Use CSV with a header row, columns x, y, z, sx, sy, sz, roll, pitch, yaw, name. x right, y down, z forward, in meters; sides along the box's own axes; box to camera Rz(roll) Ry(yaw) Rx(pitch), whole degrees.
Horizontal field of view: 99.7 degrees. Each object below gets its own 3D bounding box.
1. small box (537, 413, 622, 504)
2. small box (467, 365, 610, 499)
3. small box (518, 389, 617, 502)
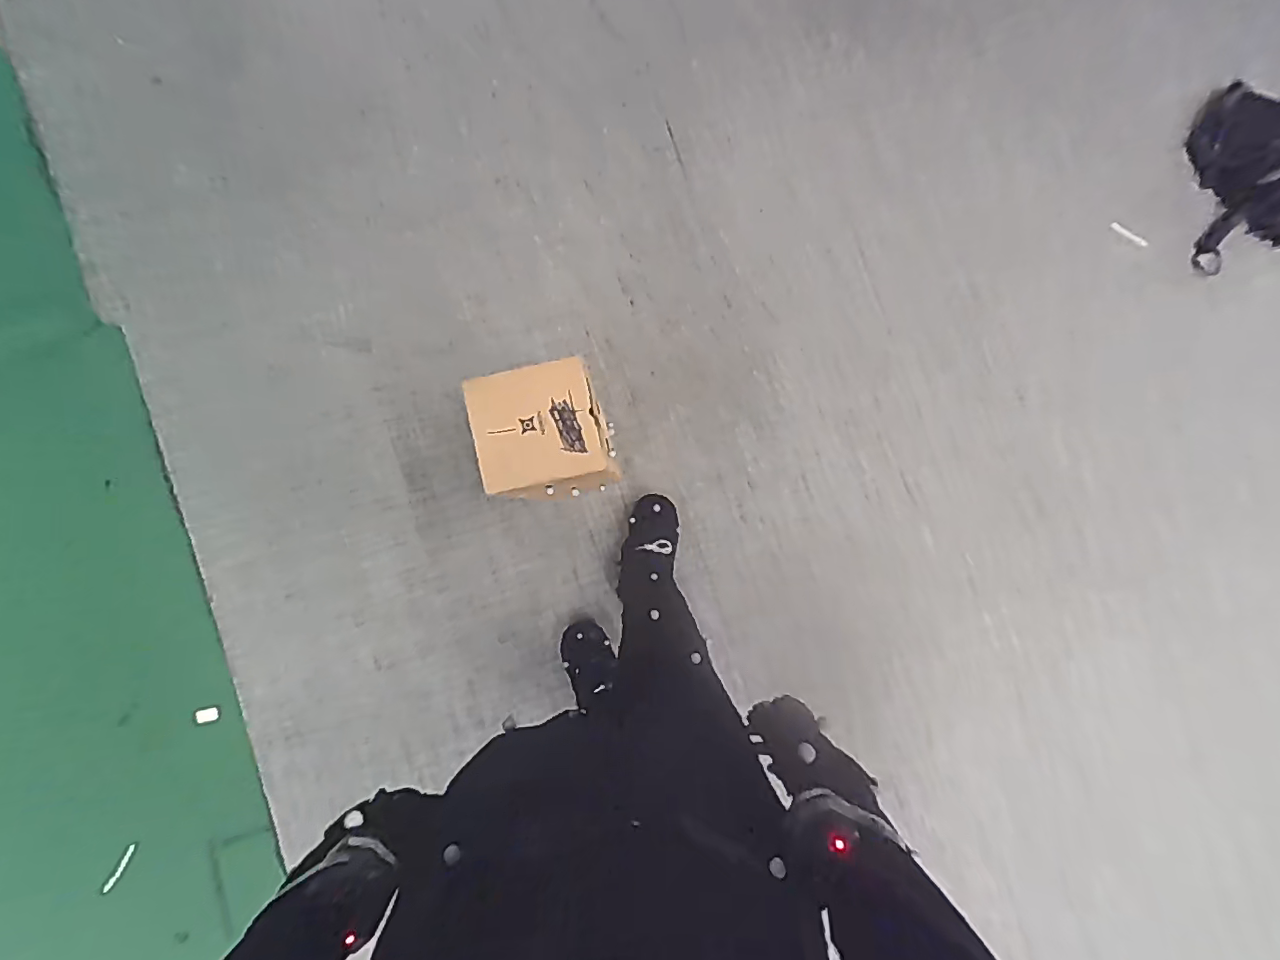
x,y,z,sx,sy,sz,roll,pitch,yaw,name
-0.143,-0.049,1.167,0.179,0.176,0.168,-16,87,0,small box
-0.145,-0.067,0.839,0.179,0.176,0.168,-12,88,0,small box
-0.144,-0.059,1.003,0.179,0.176,0.168,-14,87,-2,small box
